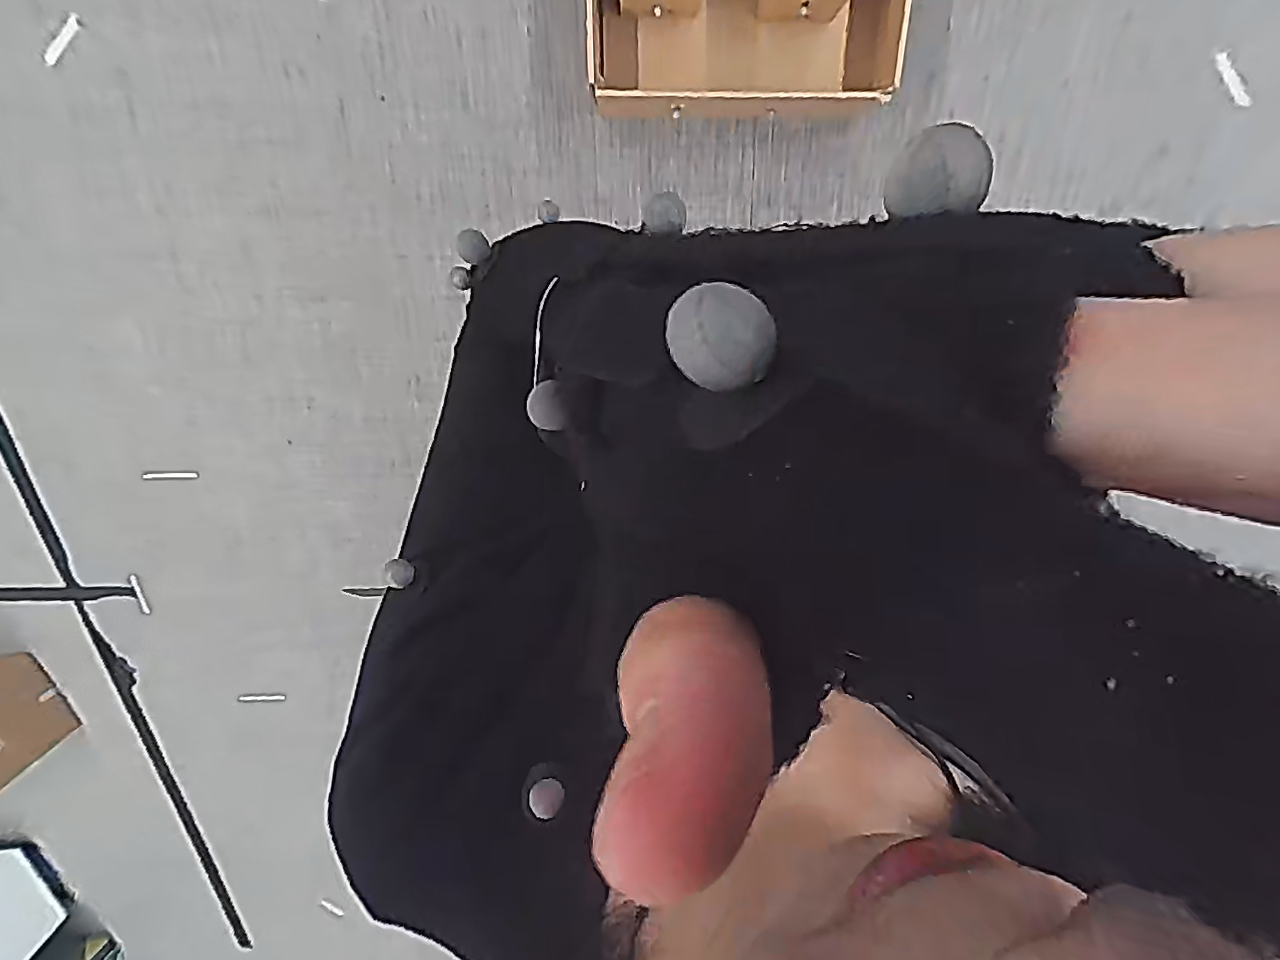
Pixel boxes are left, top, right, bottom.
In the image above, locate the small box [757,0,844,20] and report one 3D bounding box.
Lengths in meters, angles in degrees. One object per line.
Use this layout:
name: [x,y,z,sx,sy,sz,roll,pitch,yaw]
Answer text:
small box: [0.325,-1.018,1.034,0.168,0.176,0.179,1,112,-1]
